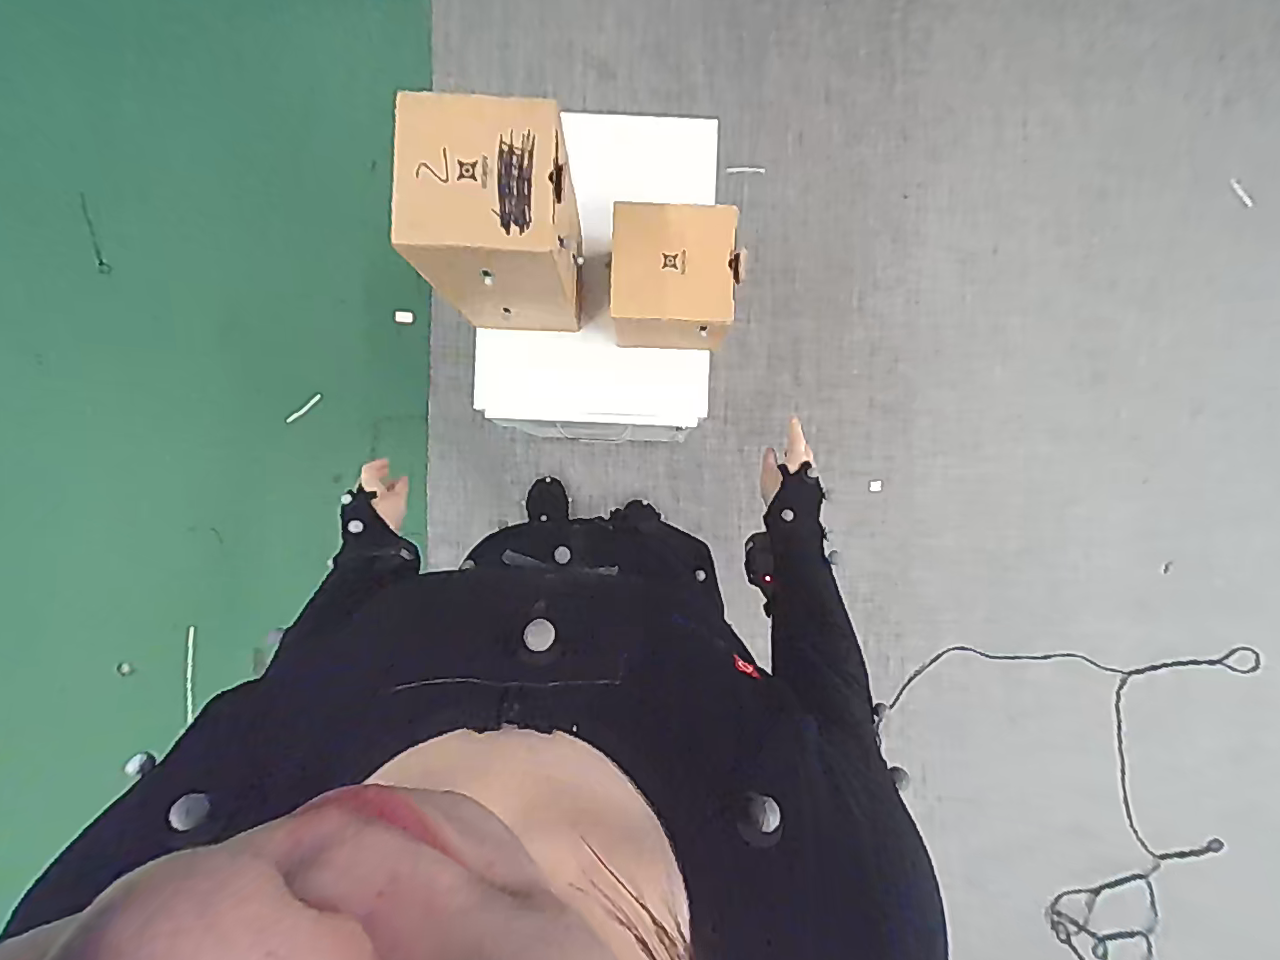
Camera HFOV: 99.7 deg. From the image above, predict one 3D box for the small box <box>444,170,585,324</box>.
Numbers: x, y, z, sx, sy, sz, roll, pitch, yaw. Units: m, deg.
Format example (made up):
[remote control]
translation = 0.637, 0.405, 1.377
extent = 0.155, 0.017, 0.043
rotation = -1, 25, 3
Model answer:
[small box]
translation = -0.181, -0.342, 0.823
extent = 0.179, 0.176, 0.168
rotation = 2, 91, -2
